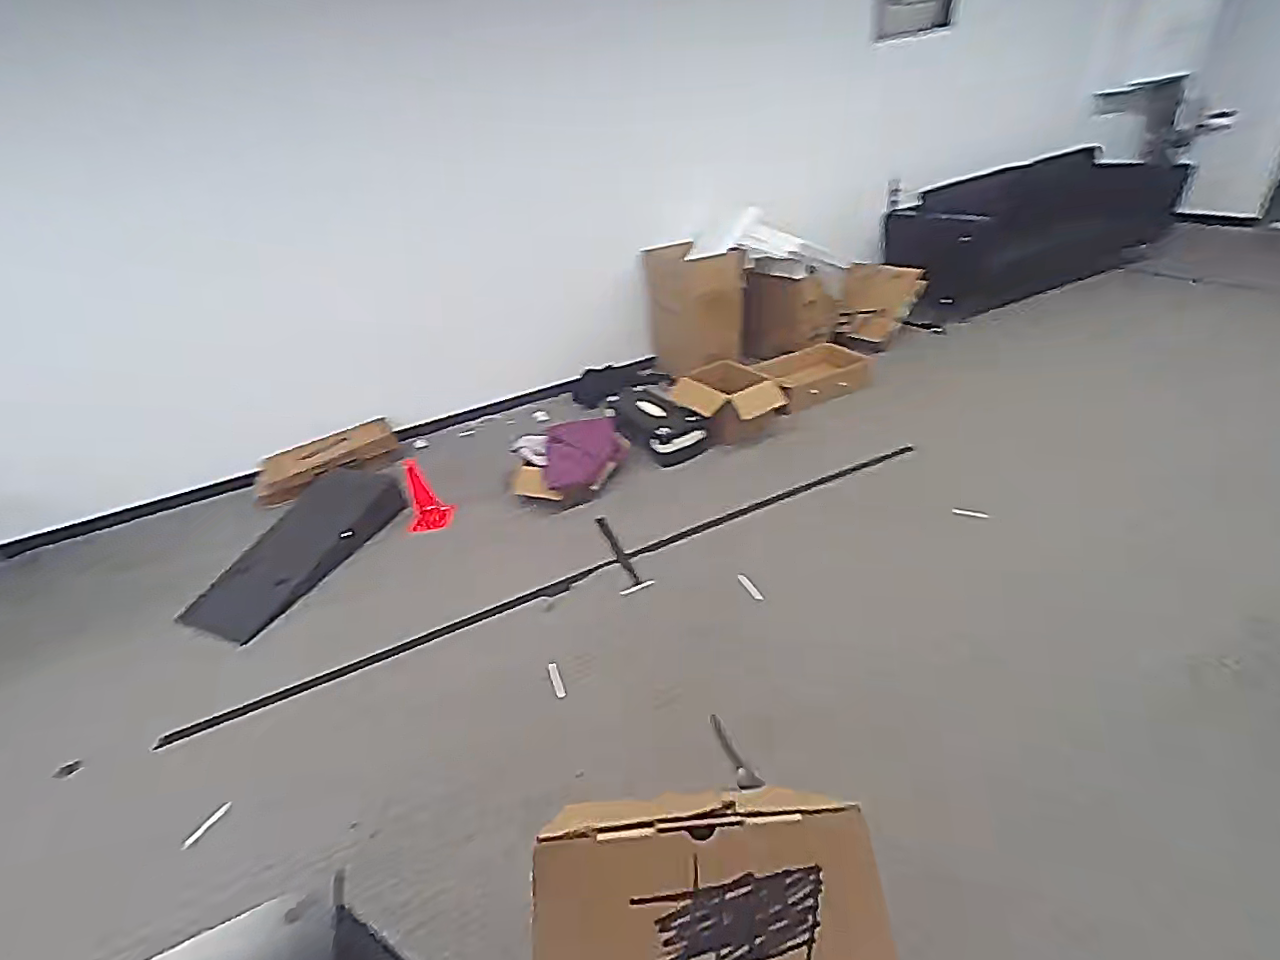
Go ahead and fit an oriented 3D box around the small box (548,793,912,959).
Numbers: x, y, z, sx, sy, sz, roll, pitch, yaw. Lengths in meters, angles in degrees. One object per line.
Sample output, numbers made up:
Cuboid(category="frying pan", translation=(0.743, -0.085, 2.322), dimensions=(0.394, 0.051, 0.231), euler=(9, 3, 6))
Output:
Cuboid(category="small box", translation=(0.040, 0.279, 0.298), dimensions=(0.168, 0.176, 0.179), euler=(-4, 63, -2))
